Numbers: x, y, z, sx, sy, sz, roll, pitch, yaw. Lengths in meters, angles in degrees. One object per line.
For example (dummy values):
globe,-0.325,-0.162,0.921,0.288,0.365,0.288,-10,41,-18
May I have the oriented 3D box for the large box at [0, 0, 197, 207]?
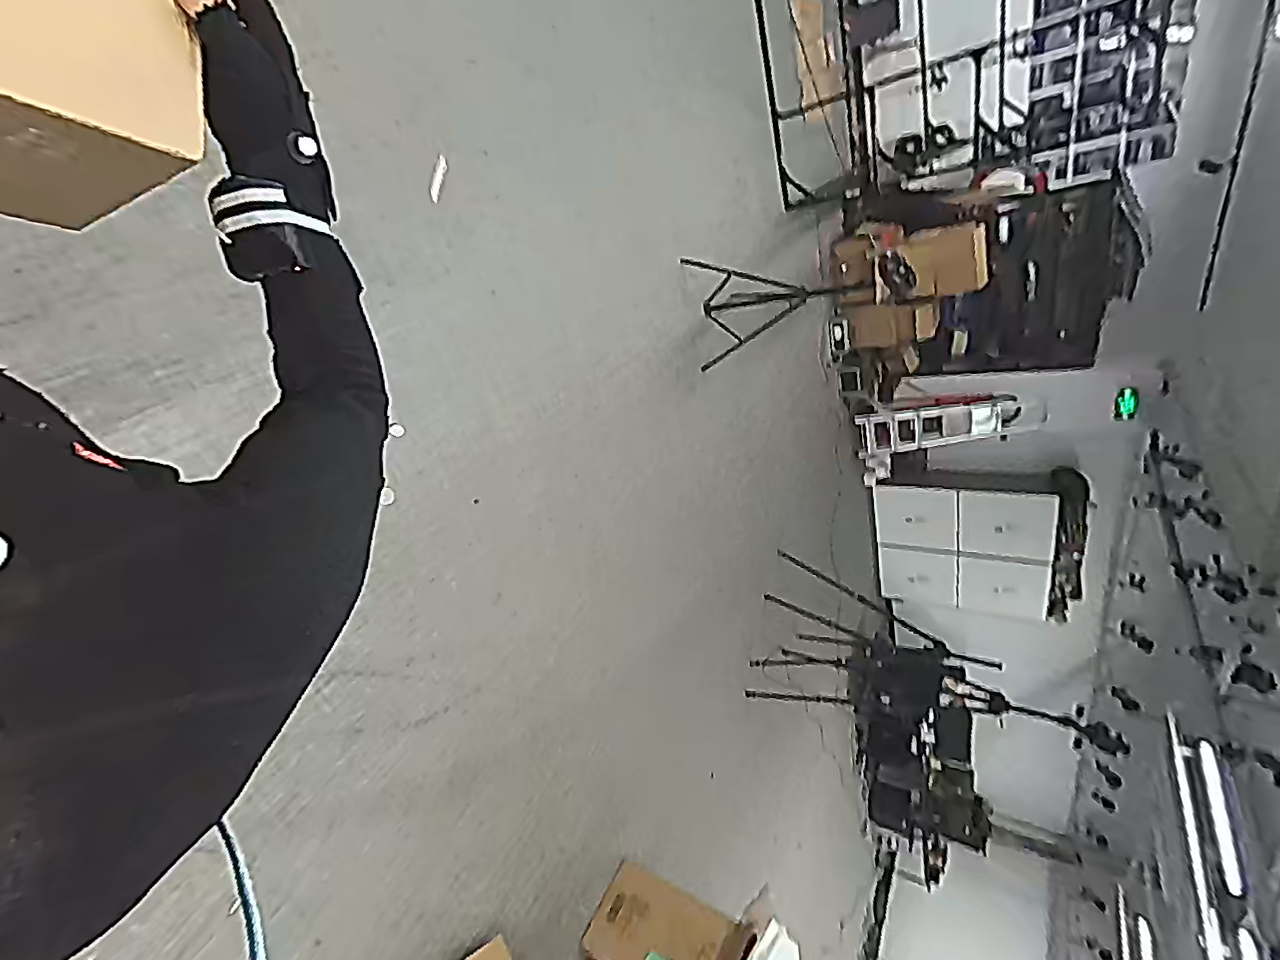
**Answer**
large box,-0.556,-0.393,0.289,0.408,0.320,0.320,-10,104,-58
